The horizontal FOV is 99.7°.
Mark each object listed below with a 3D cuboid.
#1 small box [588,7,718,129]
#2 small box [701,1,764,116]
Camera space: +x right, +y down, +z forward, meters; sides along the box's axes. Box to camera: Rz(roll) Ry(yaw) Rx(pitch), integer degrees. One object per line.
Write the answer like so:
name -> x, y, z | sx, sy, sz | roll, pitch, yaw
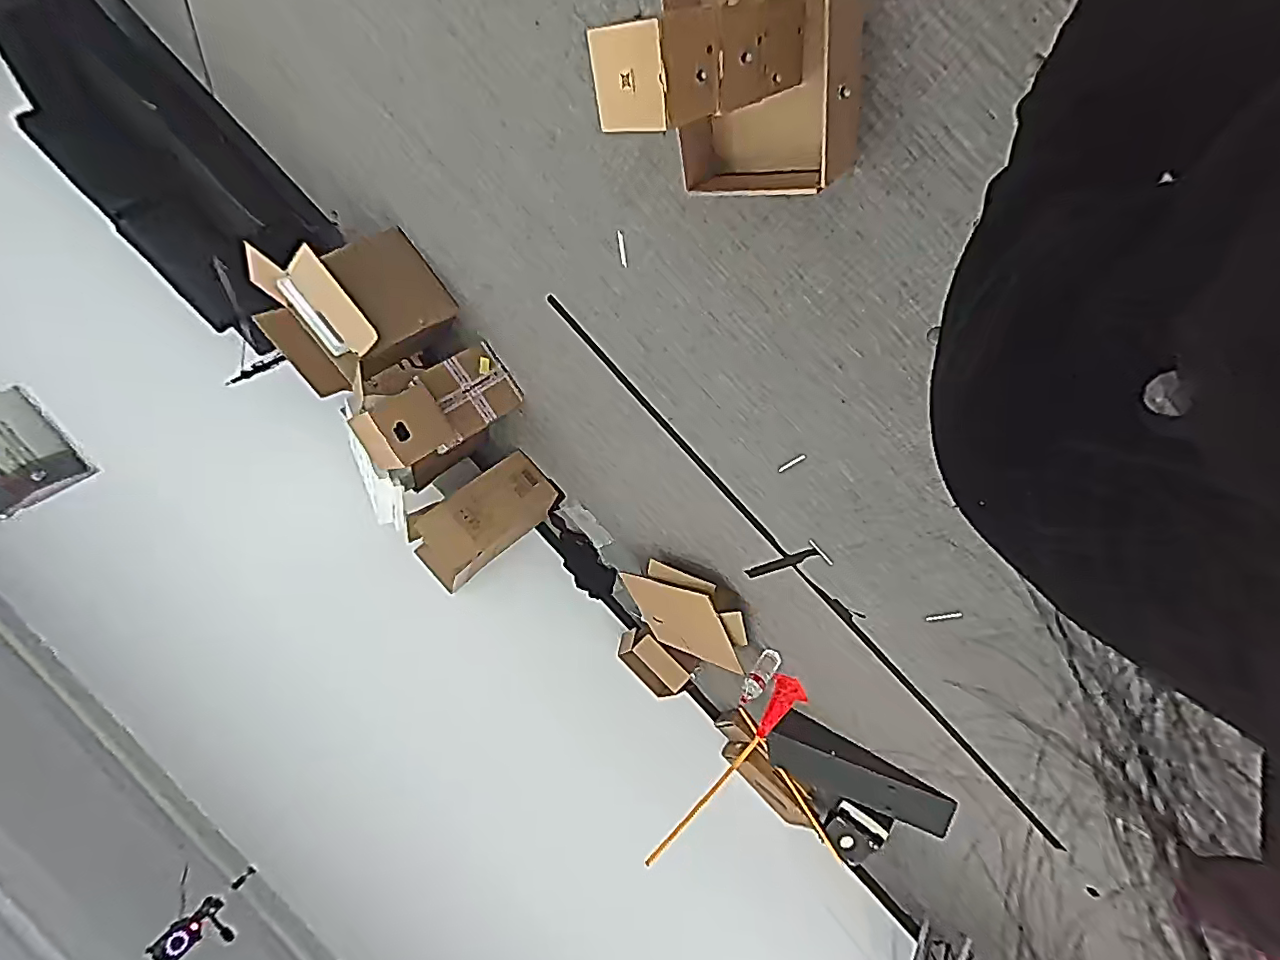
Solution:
small box -> 0.031, -0.787, 1.039 | 0.179, 0.176, 0.168 | 24, 141, 34
small box -> 0.142, -0.872, 1.123 | 0.179, 0.176, 0.168 | 25, 141, 33
